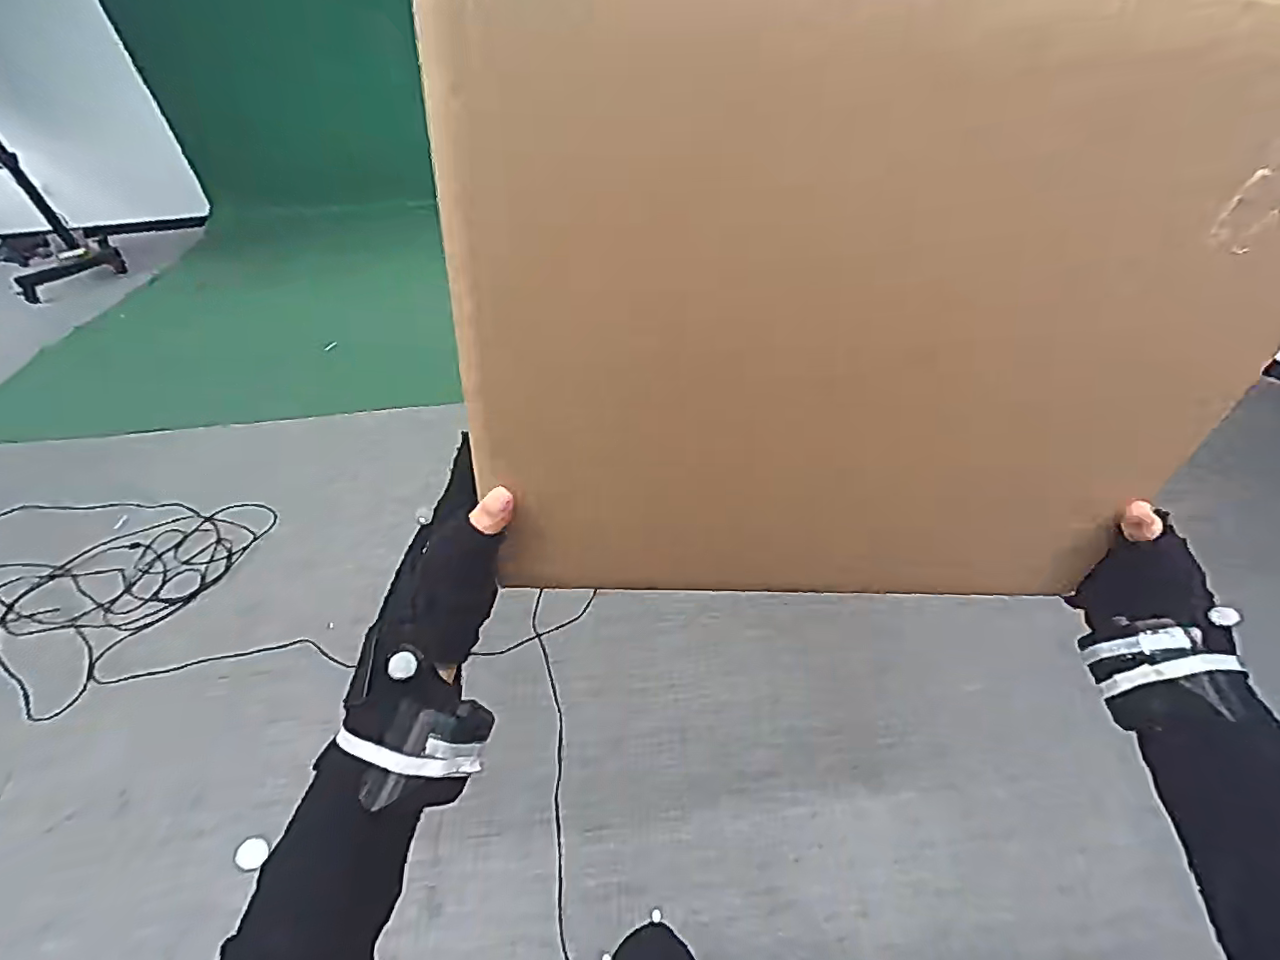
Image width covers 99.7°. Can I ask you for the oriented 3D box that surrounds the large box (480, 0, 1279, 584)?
[{"bbox_3d":[0.113,-0.138,0.394,0.408,0.320,0.320,2,38,-7],"label":"large box"}]
